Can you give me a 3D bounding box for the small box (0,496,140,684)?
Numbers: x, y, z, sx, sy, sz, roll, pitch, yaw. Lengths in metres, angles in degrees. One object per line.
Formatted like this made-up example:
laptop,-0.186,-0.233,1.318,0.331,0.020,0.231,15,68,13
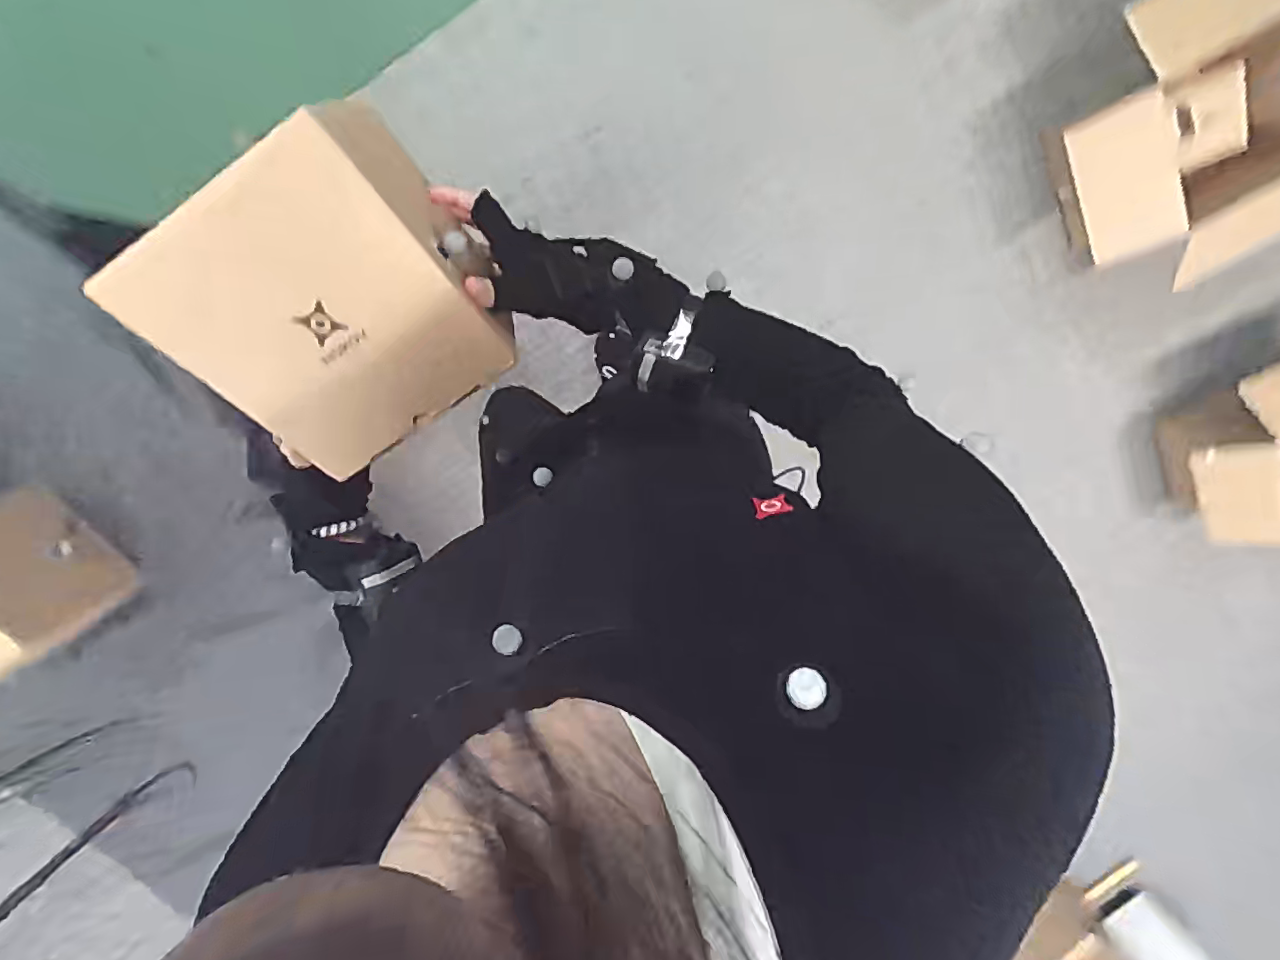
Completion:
small box,-0.781,0.148,0.651,0.179,0.176,0.168,-34,106,6
